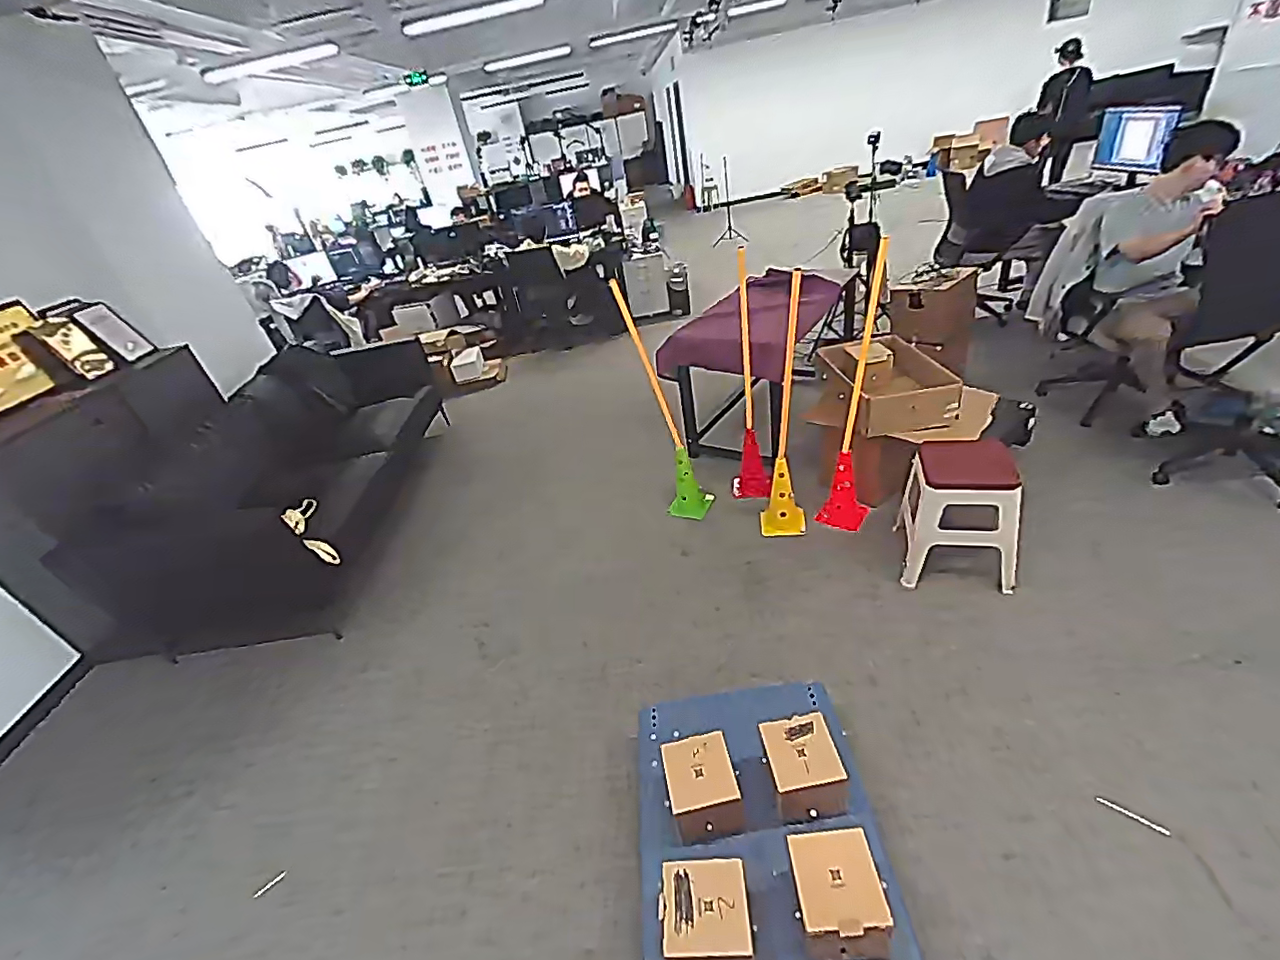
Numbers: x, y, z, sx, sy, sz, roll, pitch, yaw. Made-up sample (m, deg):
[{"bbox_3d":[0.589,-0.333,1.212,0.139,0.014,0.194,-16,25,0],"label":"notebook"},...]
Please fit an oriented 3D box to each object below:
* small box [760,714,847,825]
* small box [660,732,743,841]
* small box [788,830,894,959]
[{"bbox_3d":[0.407,0.730,1.366,0.168,0.176,0.179,-12,34,1],"label":"small box"},{"bbox_3d":[0.157,0.782,1.371,0.168,0.176,0.179,-12,33,-2],"label":"small box"},{"bbox_3d":[0.414,0.879,1.142,0.168,0.176,0.179,-9,33,5],"label":"small box"}]
